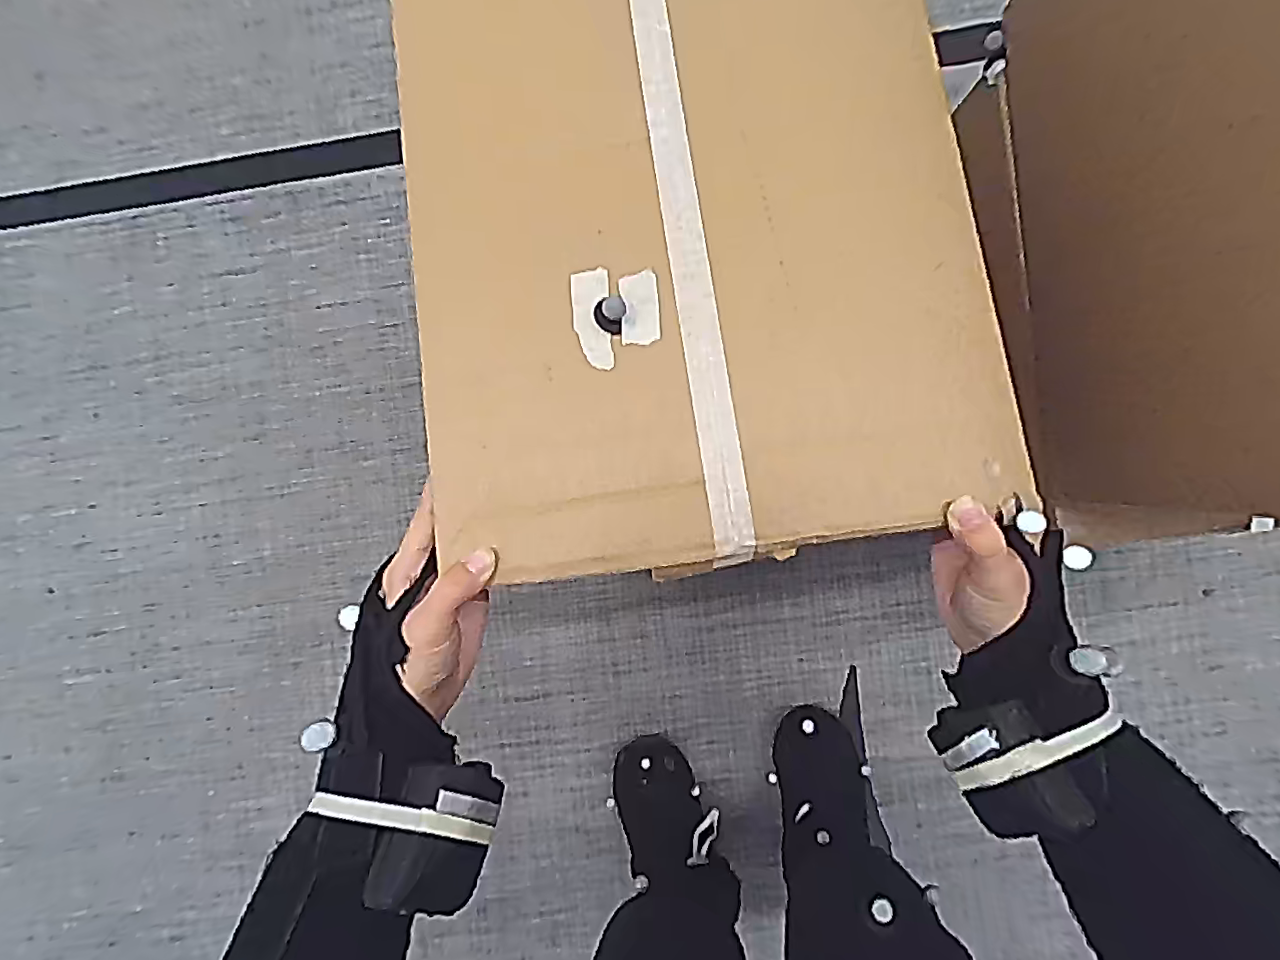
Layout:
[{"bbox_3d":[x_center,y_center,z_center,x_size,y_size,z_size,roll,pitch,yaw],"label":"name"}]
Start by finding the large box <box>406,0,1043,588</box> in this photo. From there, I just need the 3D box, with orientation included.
[{"bbox_3d":[0.038,-0.141,0.460,0.320,0.320,0.408,-9,83,3],"label":"large box"}]
